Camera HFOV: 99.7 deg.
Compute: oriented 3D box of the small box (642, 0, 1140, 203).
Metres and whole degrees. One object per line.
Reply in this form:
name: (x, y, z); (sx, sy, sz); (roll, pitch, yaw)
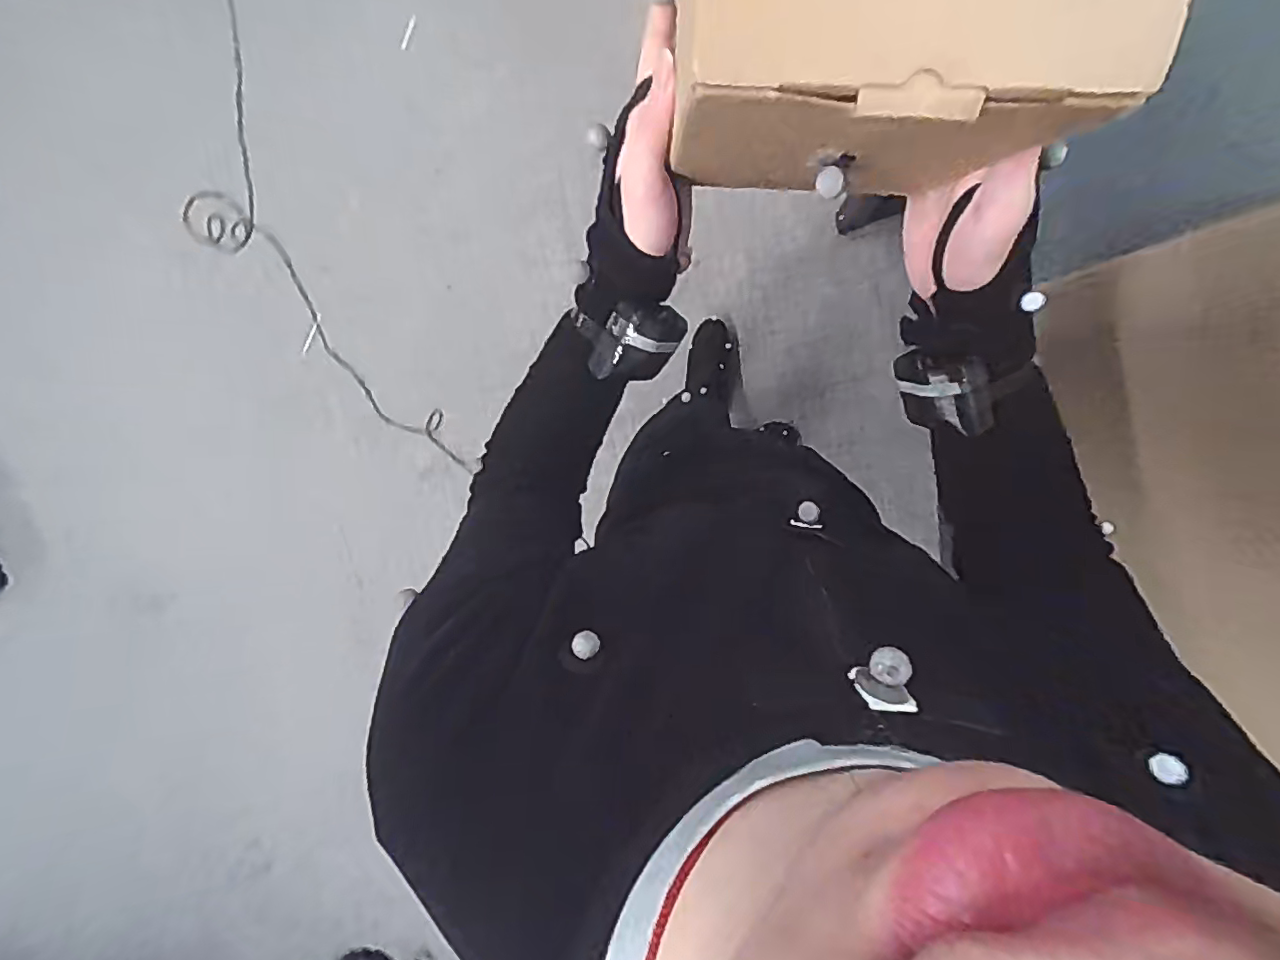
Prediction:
small box: (0.089, -0.233, 0.241); (0.168, 0.176, 0.179); (3, 109, 0)
